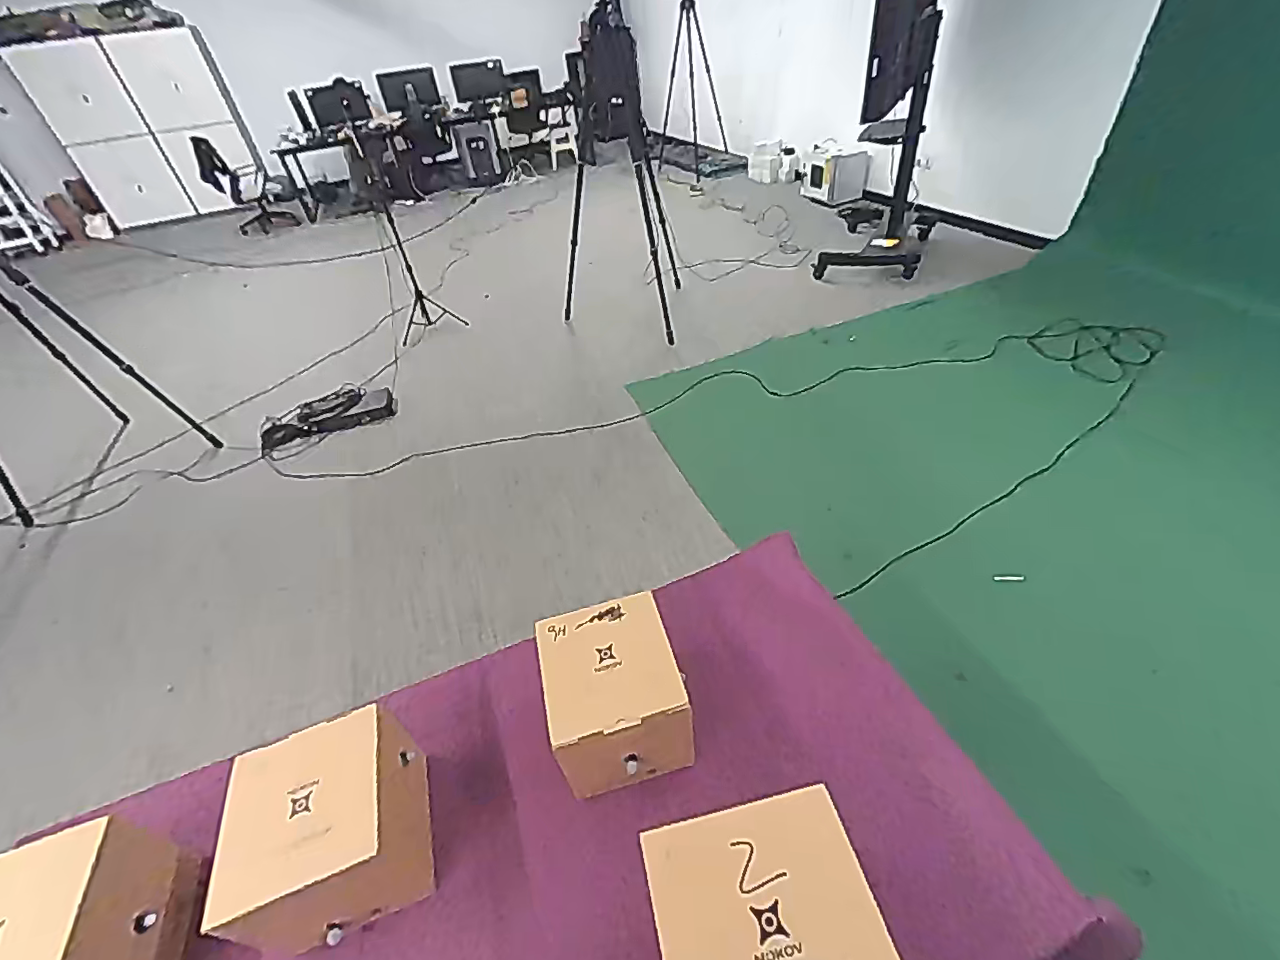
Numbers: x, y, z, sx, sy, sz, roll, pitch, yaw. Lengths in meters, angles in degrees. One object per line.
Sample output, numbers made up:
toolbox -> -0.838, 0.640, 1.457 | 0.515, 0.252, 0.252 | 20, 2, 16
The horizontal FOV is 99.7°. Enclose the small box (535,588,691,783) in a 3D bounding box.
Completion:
small box -> -0.034, 0.283, 0.733 | 0.168, 0.176, 0.179 | -15, 42, -7

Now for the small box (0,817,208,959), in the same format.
small box -> -0.620, 0.508, 0.583 | 0.179, 0.176, 0.168 | -19, 42, -11

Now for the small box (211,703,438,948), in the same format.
small box -> -0.358, 0.412, 0.649 | 0.168, 0.176, 0.179 | -19, 43, -11
